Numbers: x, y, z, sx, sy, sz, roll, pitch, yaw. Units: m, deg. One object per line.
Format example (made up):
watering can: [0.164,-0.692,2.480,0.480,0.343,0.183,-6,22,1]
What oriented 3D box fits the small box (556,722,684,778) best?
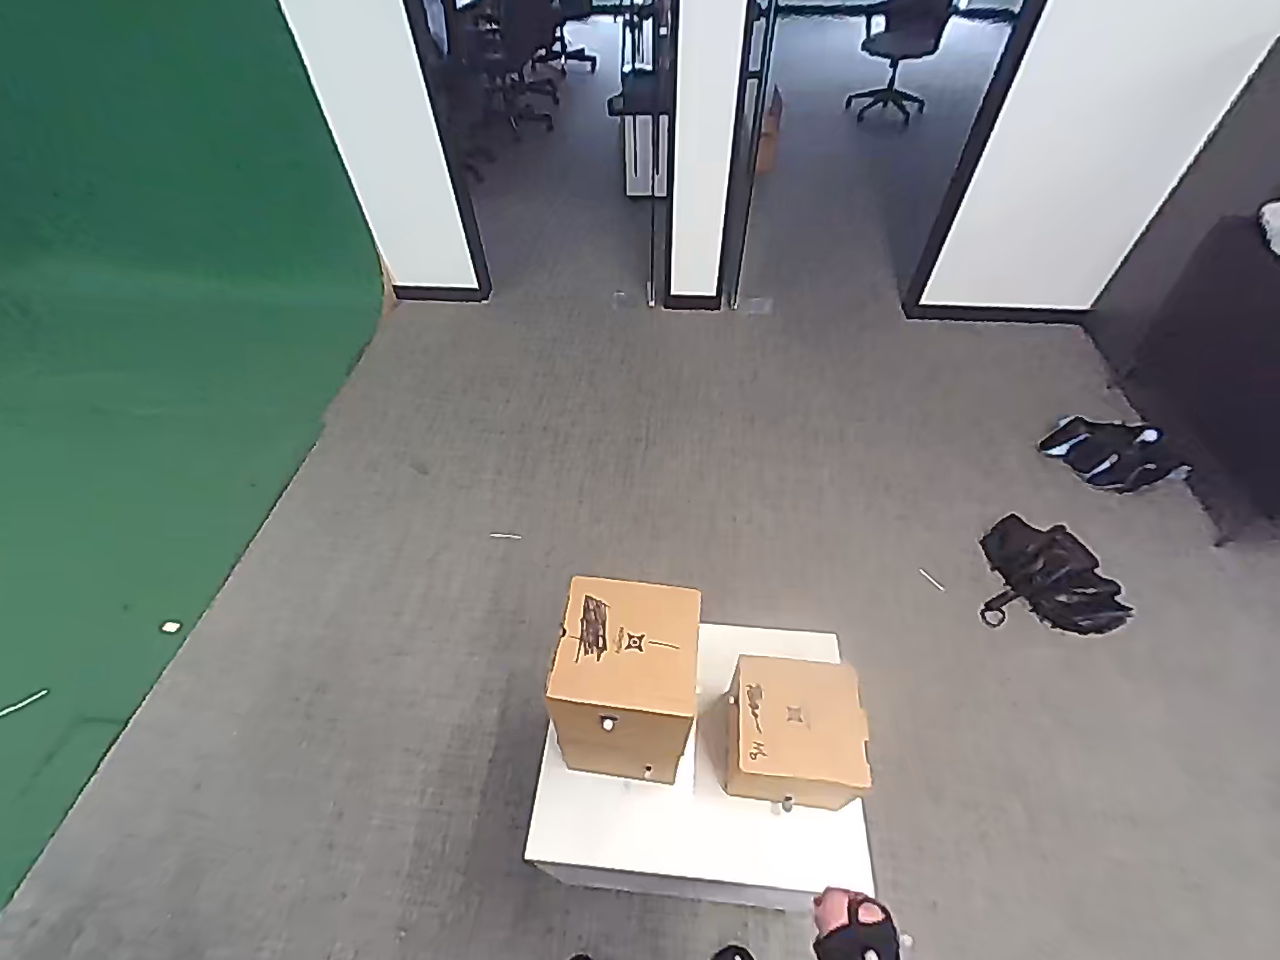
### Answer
small box: [-0.021,0.353,0.847,0.179,0.176,0.168,5,50,4]

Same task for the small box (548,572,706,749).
small box: [-0.013,0.245,0.723,0.179,0.176,0.168,7,50,3]

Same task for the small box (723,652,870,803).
small box: [0.227,0.382,0.827,0.179,0.176,0.168,5,51,5]
